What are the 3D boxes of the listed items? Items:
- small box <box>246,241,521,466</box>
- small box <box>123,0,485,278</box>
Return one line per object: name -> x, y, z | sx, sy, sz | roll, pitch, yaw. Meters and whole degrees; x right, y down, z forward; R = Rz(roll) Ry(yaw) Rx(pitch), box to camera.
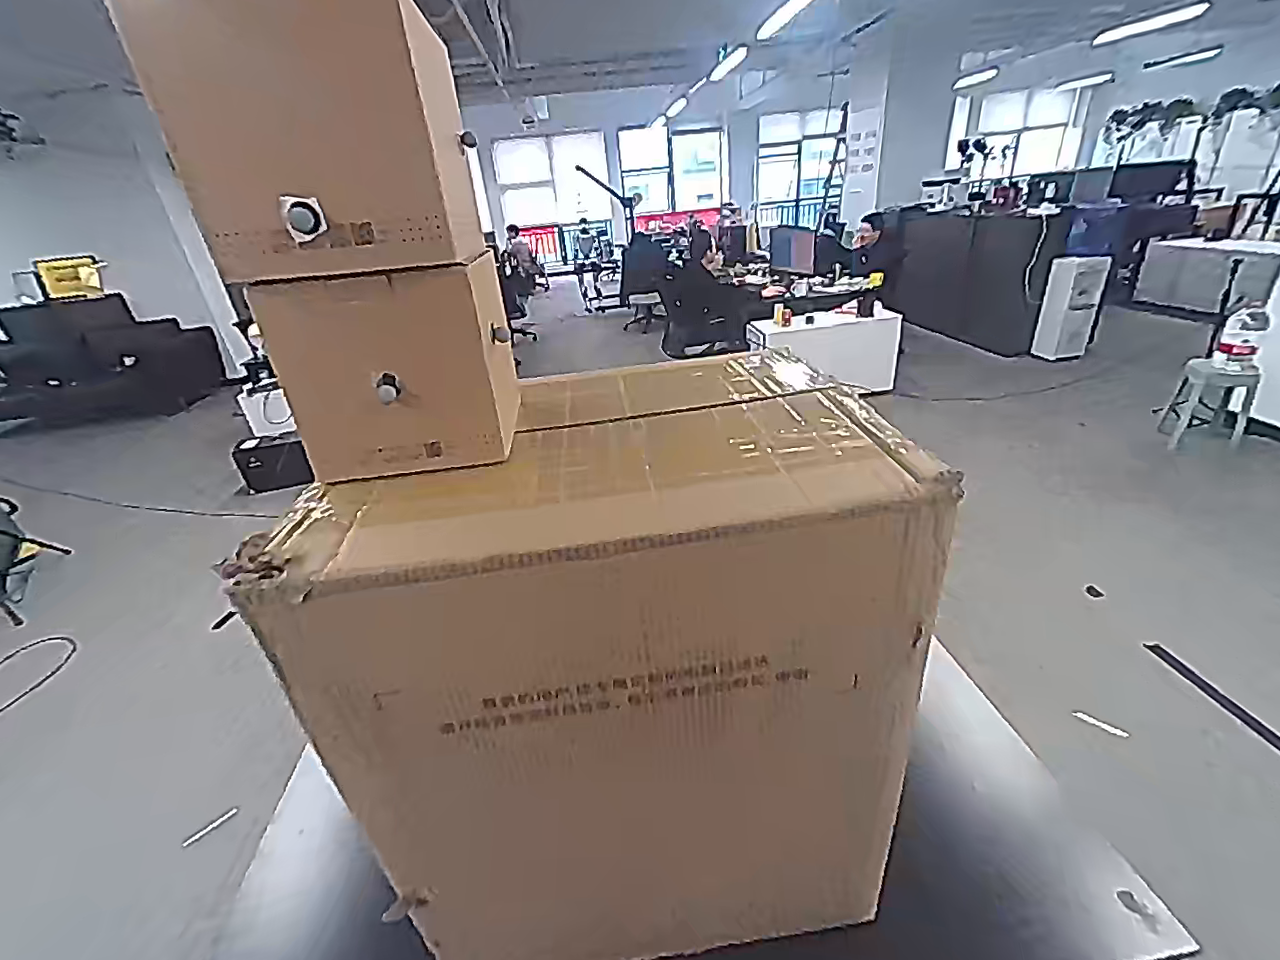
small box -> -0.212, -0.120, 0.510 | 0.168, 0.176, 0.179 | -7, 28, -5
small box -> -0.226, -0.258, 0.423 | 0.168, 0.176, 0.179 | -9, 28, -5
